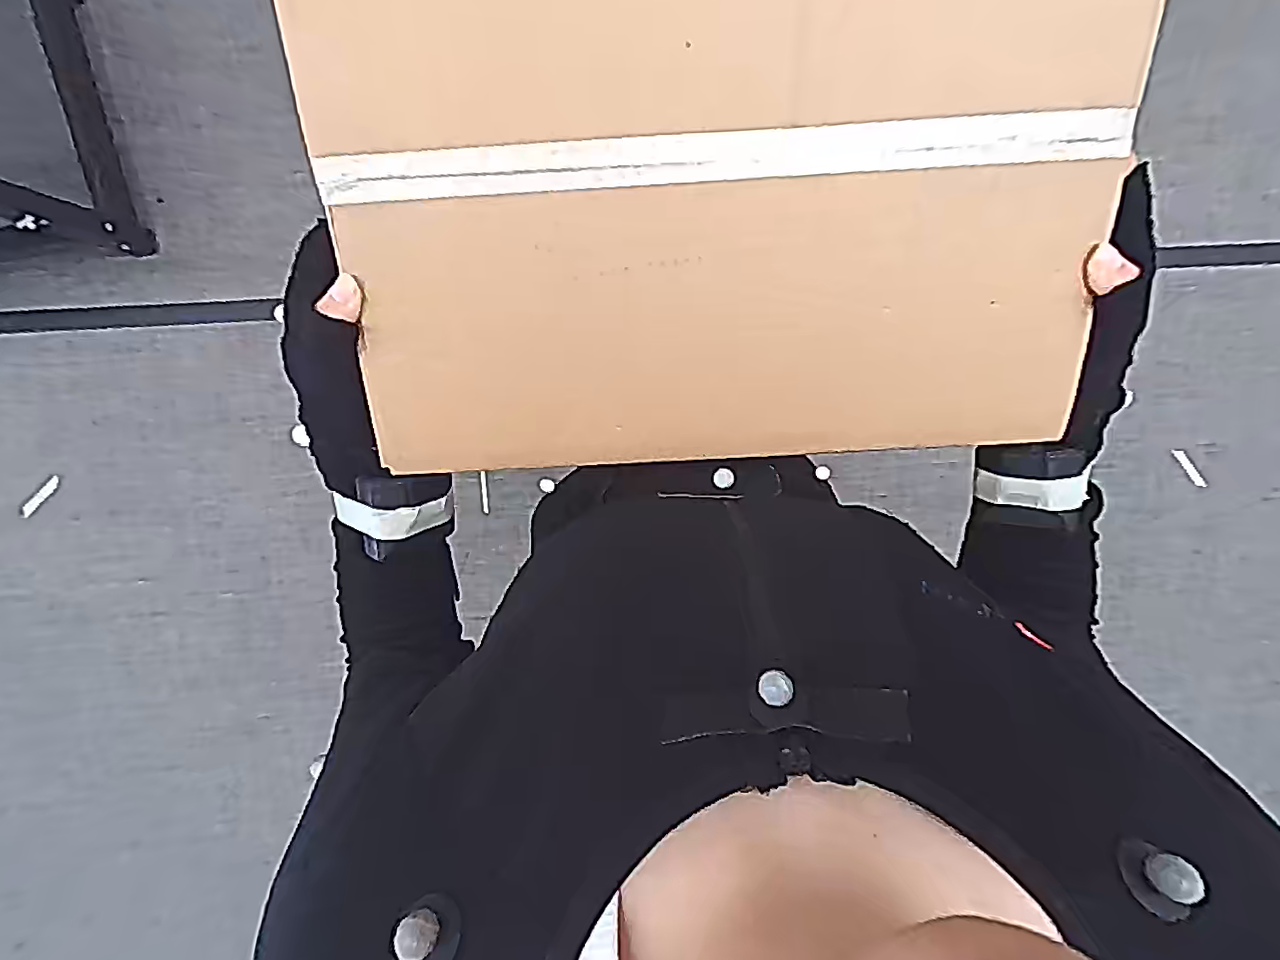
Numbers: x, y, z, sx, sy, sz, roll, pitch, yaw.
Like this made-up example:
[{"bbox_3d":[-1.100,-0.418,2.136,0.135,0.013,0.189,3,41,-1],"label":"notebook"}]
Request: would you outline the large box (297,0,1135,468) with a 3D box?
[{"bbox_3d":[0.036,-0.213,0.421,0.408,0.320,0.320,-3,111,0],"label":"large box"}]
